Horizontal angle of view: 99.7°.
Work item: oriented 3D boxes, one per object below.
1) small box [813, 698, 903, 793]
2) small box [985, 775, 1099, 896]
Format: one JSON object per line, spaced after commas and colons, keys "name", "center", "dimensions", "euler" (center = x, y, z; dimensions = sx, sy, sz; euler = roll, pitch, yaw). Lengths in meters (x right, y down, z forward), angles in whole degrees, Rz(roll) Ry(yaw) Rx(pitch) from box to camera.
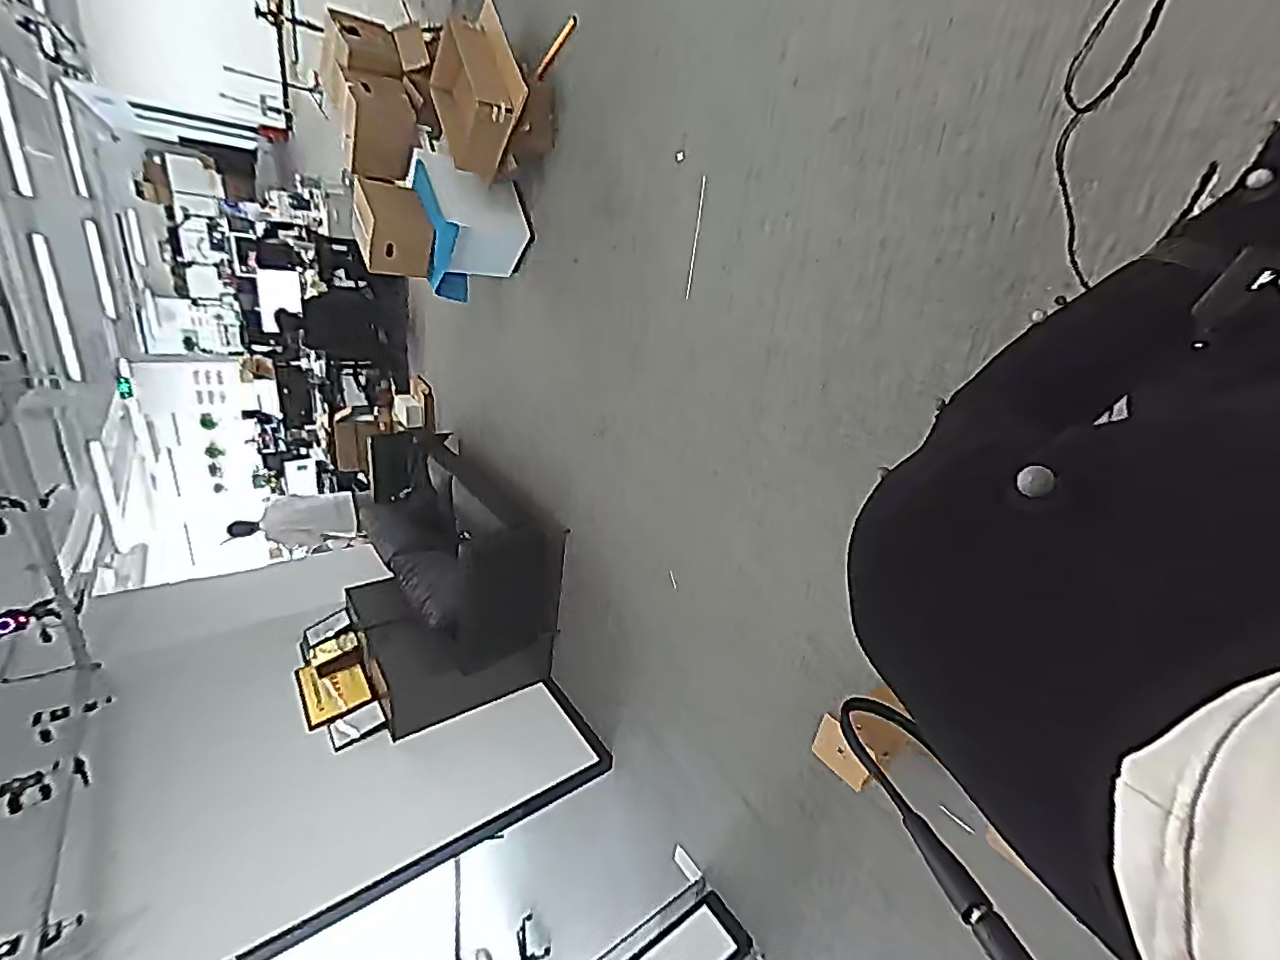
{"name": "small box", "center": [0.672, 0.806, 1.662], "dimensions": [0.179, 0.176, 0.168], "euler": [34, 123, 45]}
{"name": "small box", "center": [1.071, 0.935, 1.438], "dimensions": [0.179, 0.176, 0.168], "euler": [32, 122, 46]}
